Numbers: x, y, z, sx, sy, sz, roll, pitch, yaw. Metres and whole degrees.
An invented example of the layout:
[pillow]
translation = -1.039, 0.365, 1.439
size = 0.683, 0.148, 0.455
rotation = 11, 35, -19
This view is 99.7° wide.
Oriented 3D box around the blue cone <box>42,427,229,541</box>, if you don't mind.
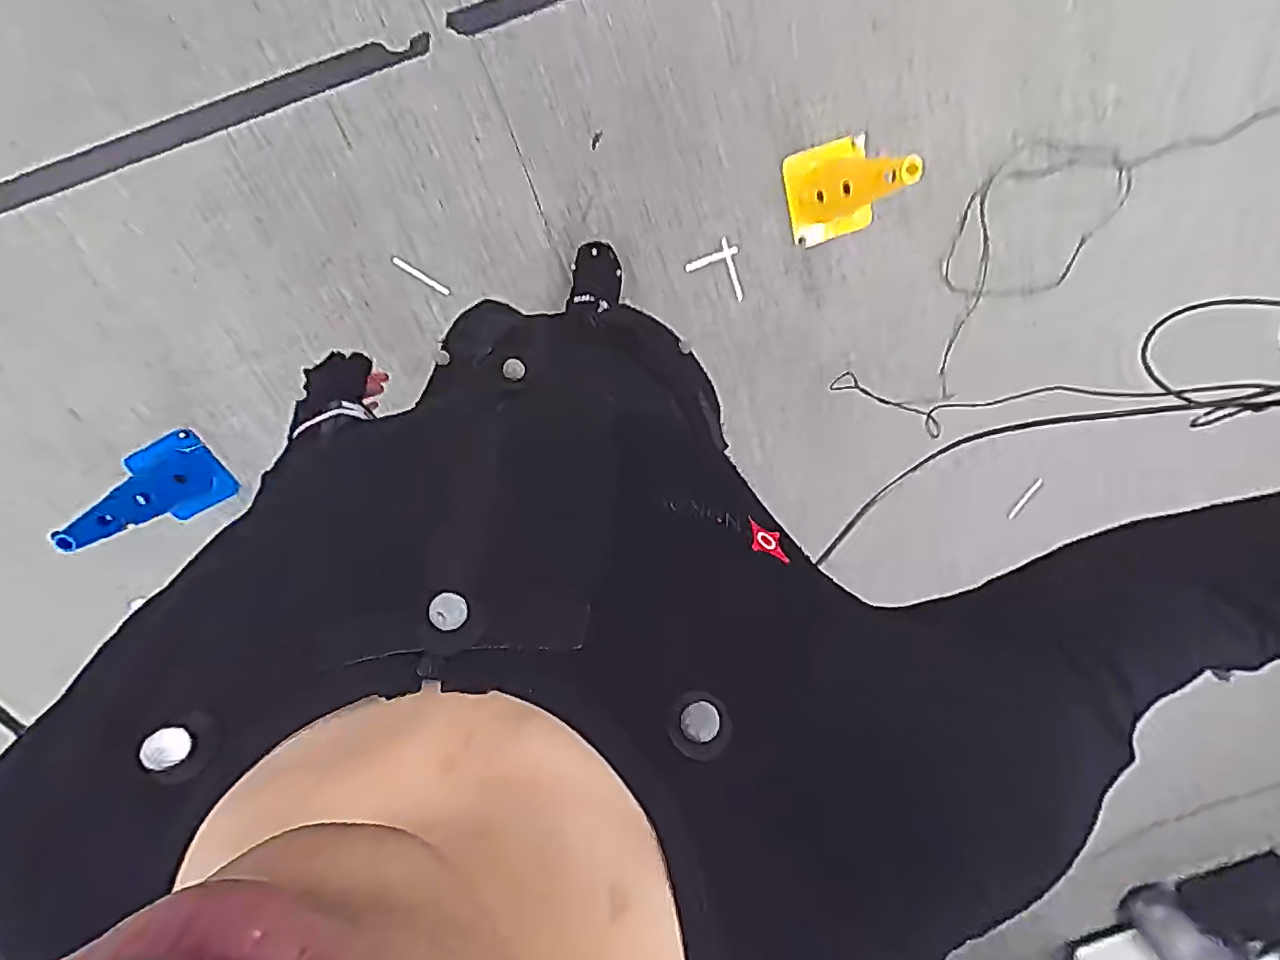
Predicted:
[blue cone]
translation = -1.156, 0.041, 1.224
size = 0.193, 0.380, 0.192
rotation = -25, 113, 4
